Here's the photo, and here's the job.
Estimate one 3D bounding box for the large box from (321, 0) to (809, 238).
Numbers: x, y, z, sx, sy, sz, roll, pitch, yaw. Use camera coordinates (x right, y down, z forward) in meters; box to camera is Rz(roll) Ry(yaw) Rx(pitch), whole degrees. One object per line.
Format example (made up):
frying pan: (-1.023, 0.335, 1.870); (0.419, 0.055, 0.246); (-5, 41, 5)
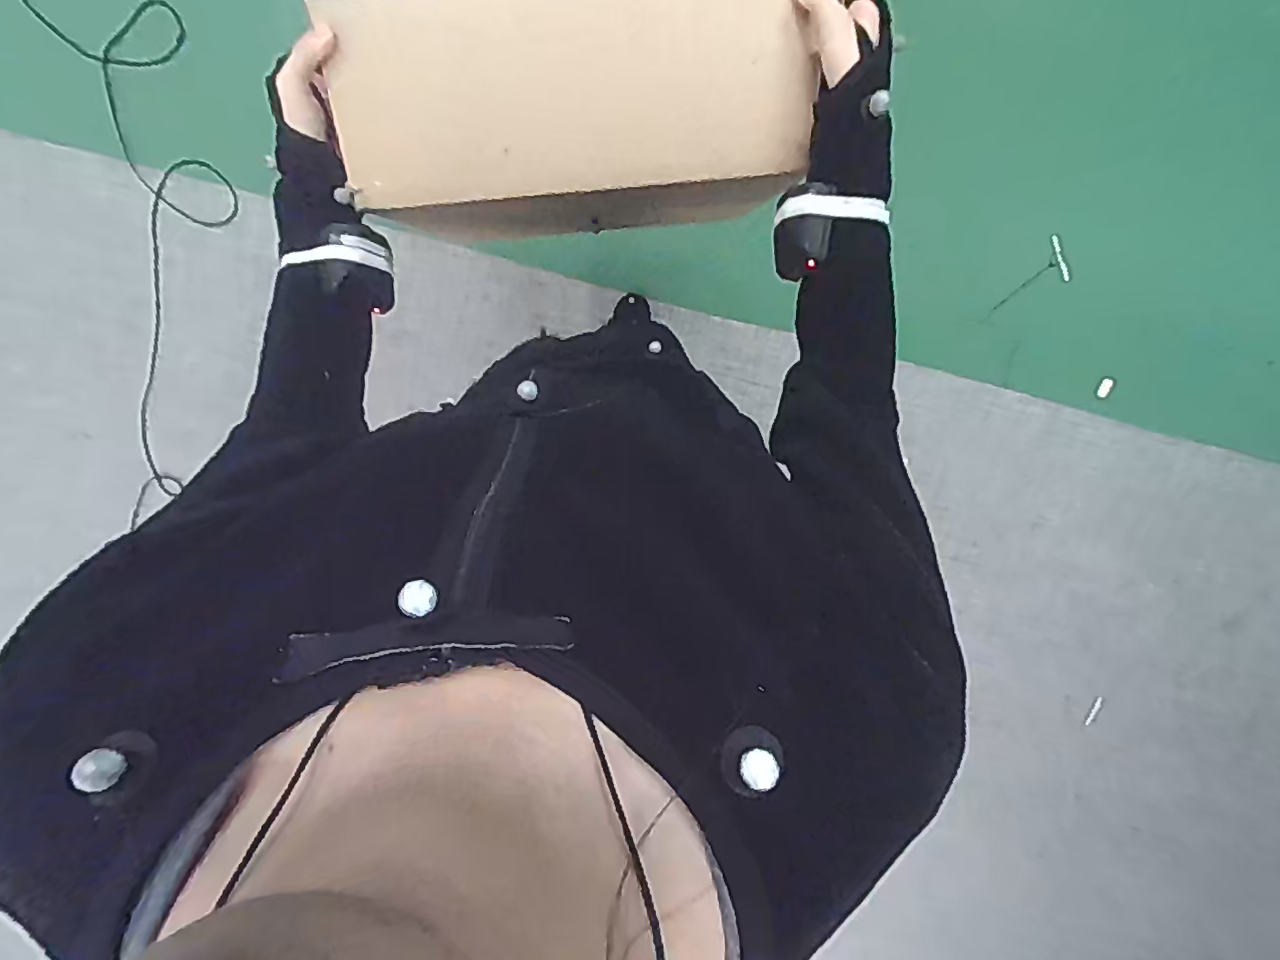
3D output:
large box: (-0.064, -0.450, 0.576); (0.408, 0.320, 0.320); (-5, 109, -1)
